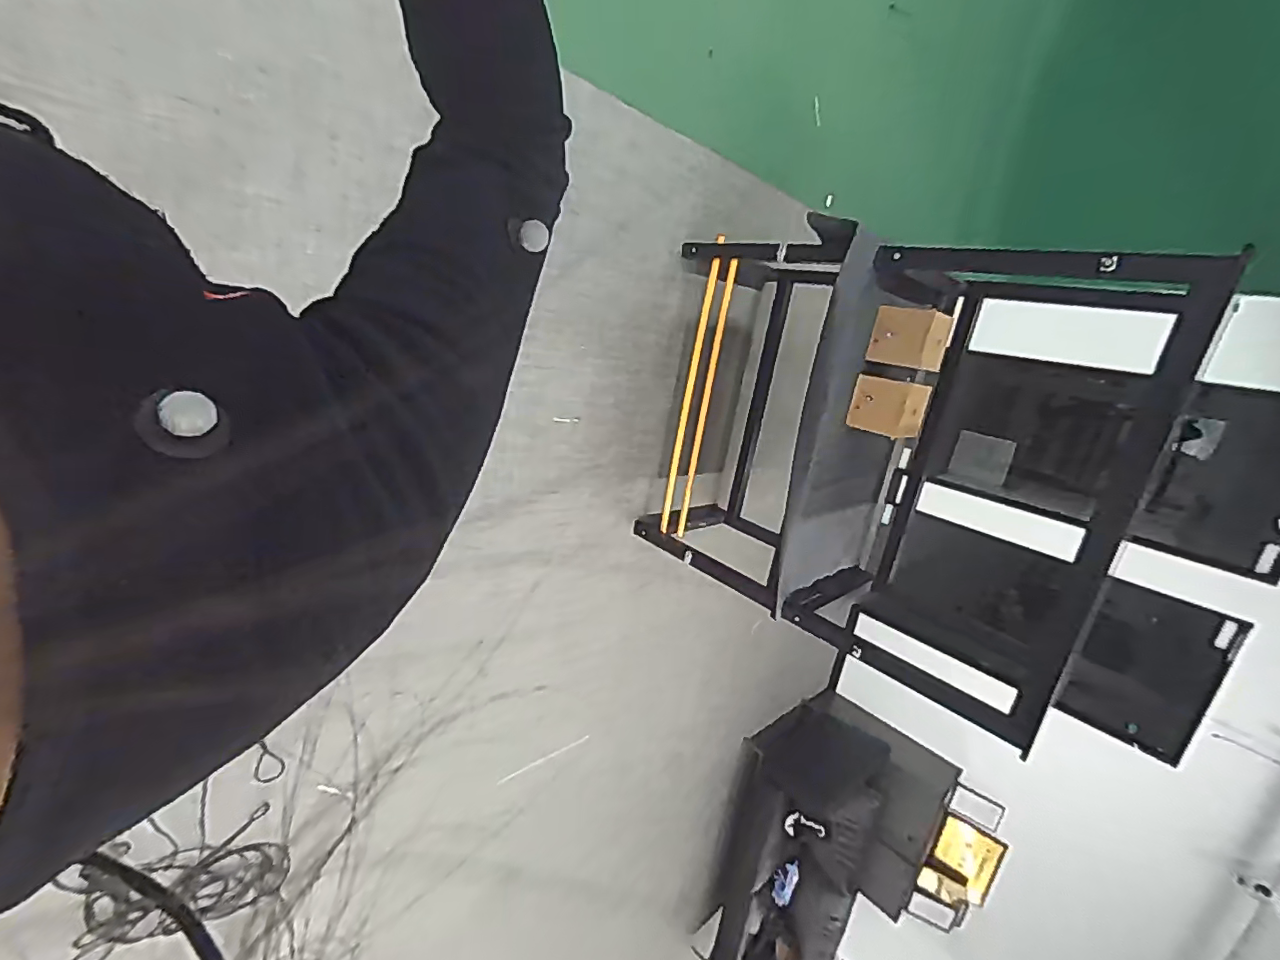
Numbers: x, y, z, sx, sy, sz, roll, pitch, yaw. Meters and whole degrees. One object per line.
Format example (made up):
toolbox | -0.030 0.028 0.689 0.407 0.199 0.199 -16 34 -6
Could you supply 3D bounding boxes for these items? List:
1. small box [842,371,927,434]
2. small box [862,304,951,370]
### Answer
small box | 0.774 -0.246 1.719 0.179 0.176 0.168 -6 113 -44
small box | 0.817 -0.442 1.662 0.179 0.176 0.168 -7 114 -44
